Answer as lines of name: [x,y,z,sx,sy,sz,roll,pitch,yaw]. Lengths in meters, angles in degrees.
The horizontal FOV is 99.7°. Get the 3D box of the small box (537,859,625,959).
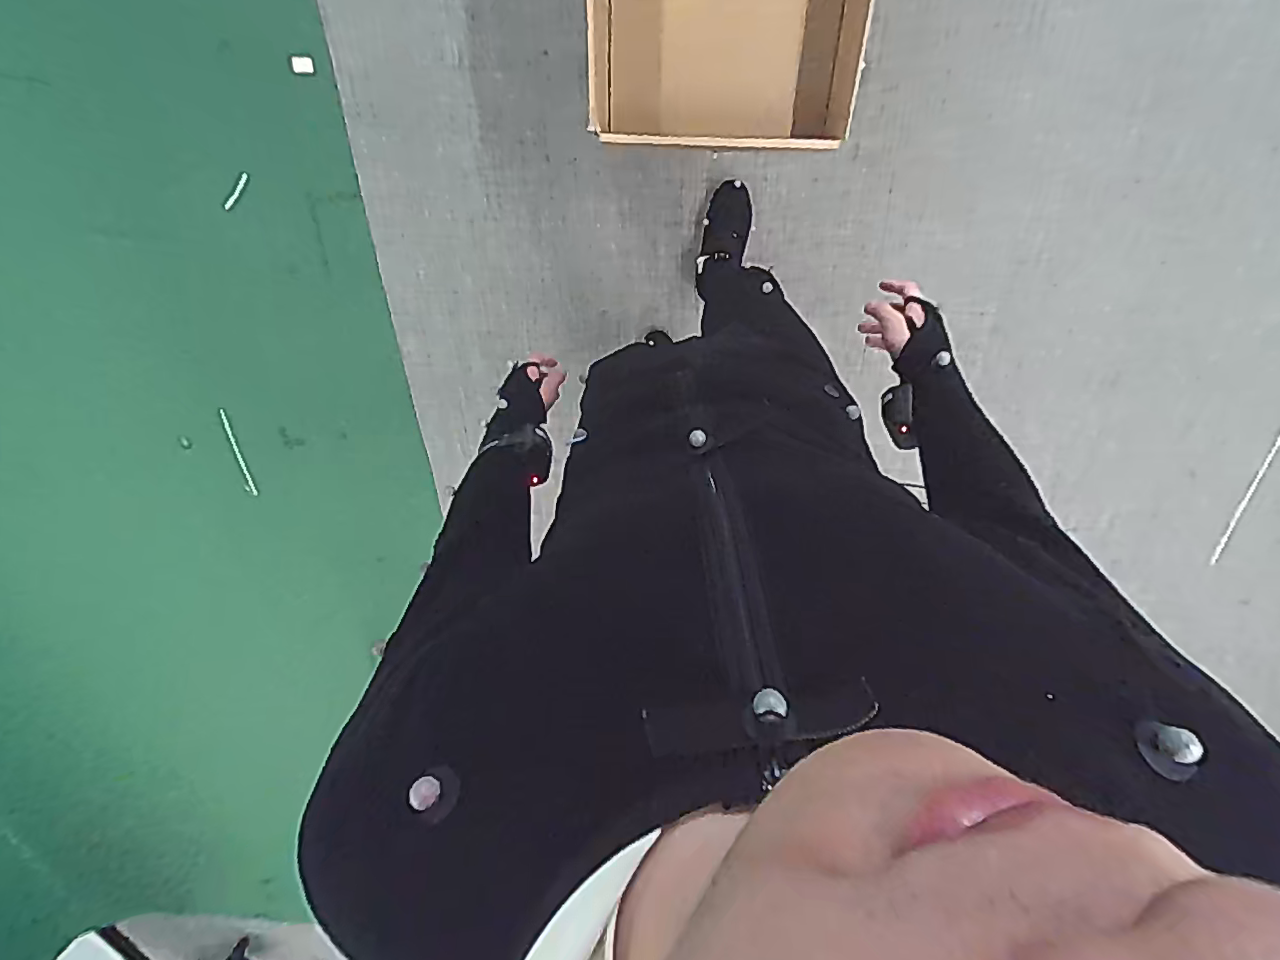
small box: [-0.151,1.149,1.454,0.168,0.176,0.179,-19,116,14]
